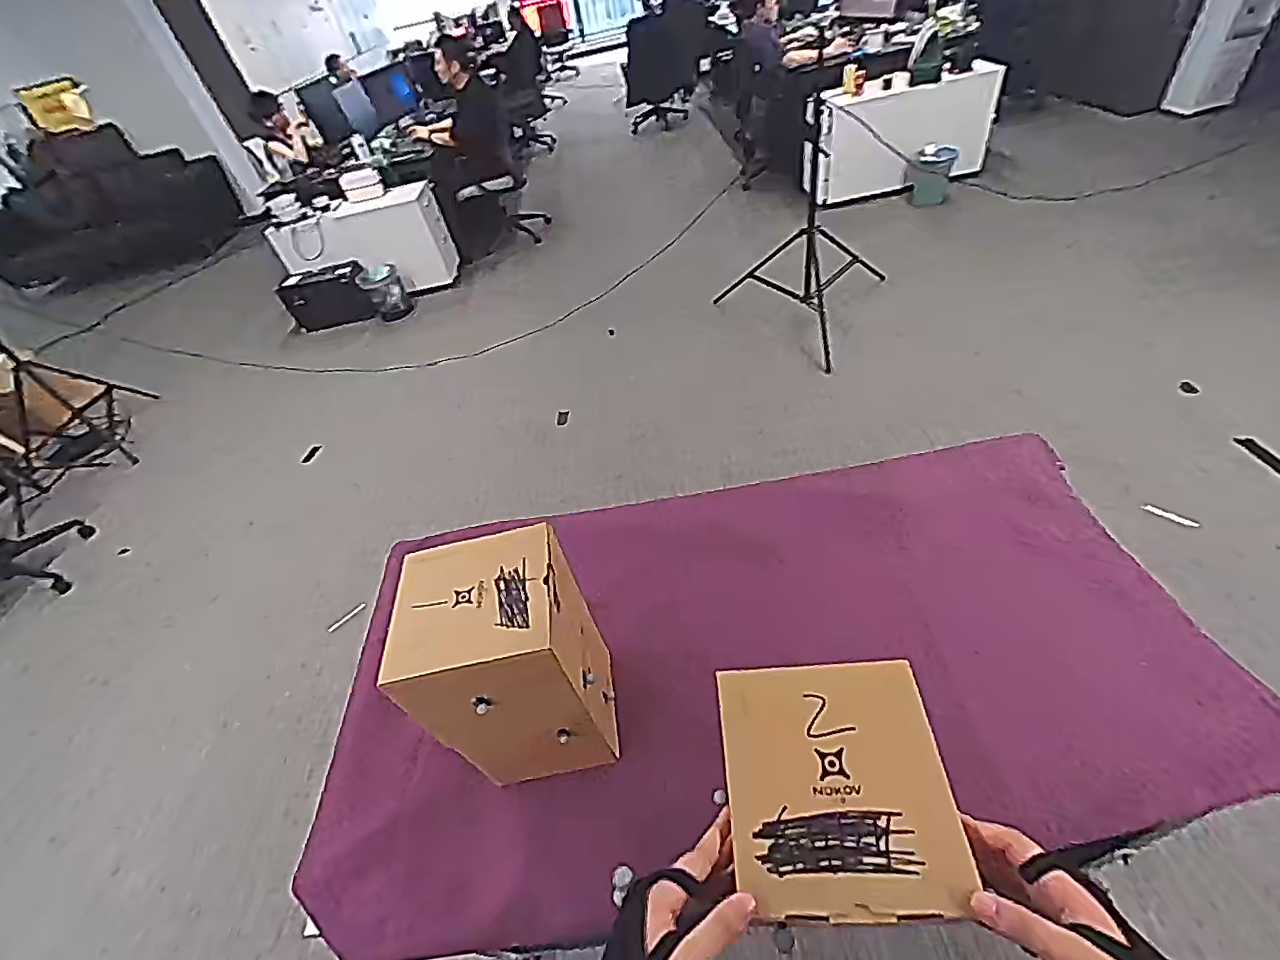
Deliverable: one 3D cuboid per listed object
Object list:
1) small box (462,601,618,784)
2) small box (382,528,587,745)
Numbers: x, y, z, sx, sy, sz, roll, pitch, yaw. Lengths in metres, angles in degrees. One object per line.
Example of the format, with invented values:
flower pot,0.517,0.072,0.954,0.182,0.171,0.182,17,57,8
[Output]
small box,-0.137,0.298,0.750,0.179,0.176,0.168,-12,44,1
small box,-0.162,0.185,0.633,0.179,0.176,0.168,-12,43,1
